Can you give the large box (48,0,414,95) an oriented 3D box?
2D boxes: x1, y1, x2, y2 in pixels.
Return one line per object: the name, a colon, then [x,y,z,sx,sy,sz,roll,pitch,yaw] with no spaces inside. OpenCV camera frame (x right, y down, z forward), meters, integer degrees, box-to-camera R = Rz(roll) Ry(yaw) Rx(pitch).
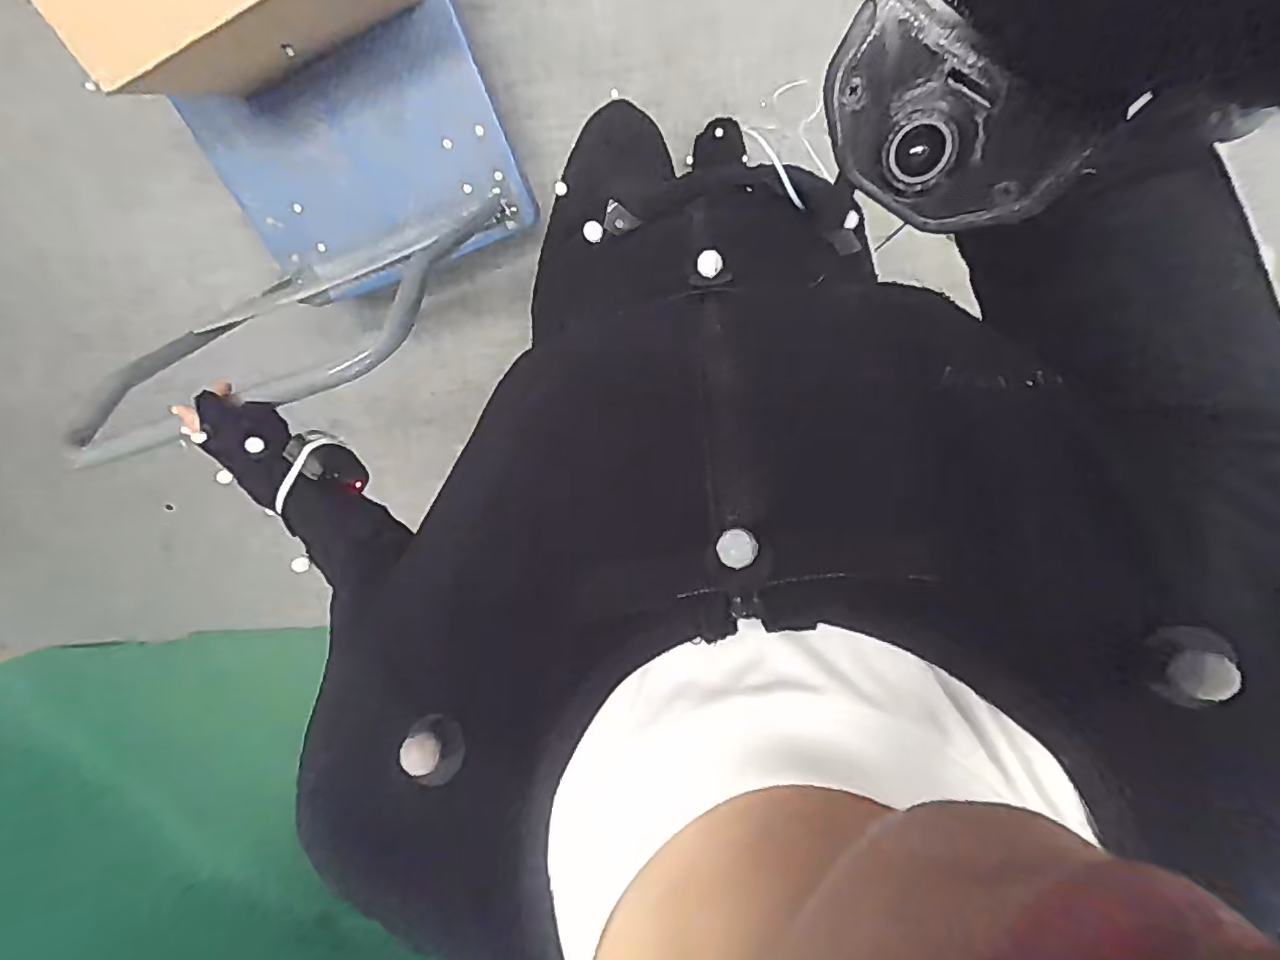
large box: [-0.607,-0.811,0.773,0.408,0.320,0.320,-16,121,14]
